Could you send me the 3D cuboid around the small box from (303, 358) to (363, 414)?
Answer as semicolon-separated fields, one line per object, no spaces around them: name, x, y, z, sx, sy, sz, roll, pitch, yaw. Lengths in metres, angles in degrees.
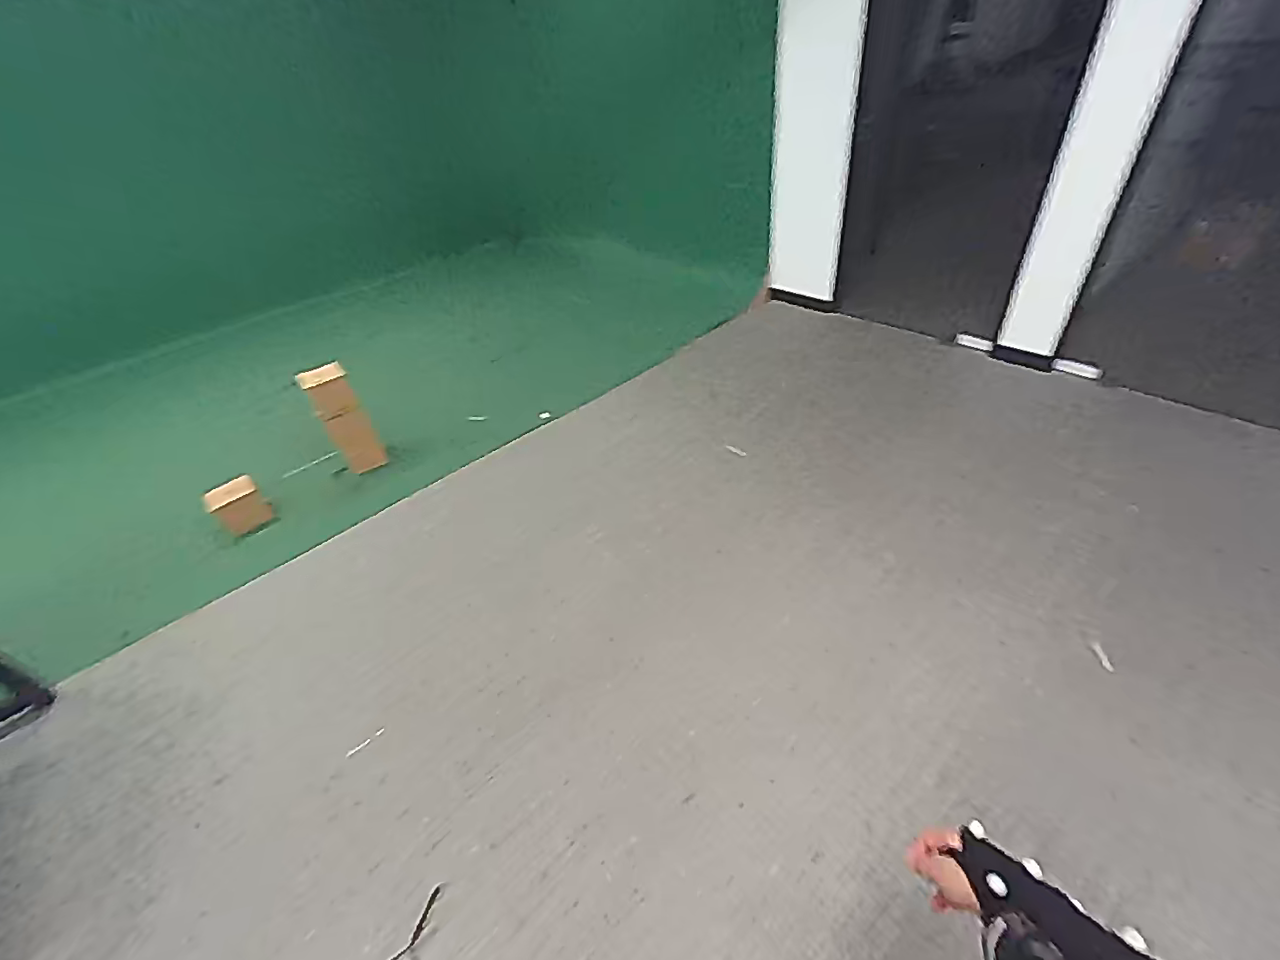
small box;-1.382;-0.422;2.434;0.168;0.176;0.179;-29;44;-25

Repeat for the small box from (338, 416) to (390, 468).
small box;-1.352;-0.180;2.655;0.168;0.176;0.179;-26;44;-21

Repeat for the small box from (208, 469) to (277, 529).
small box;-1.762;0.089;2.399;0.179;0.176;0.168;-33;47;-27
